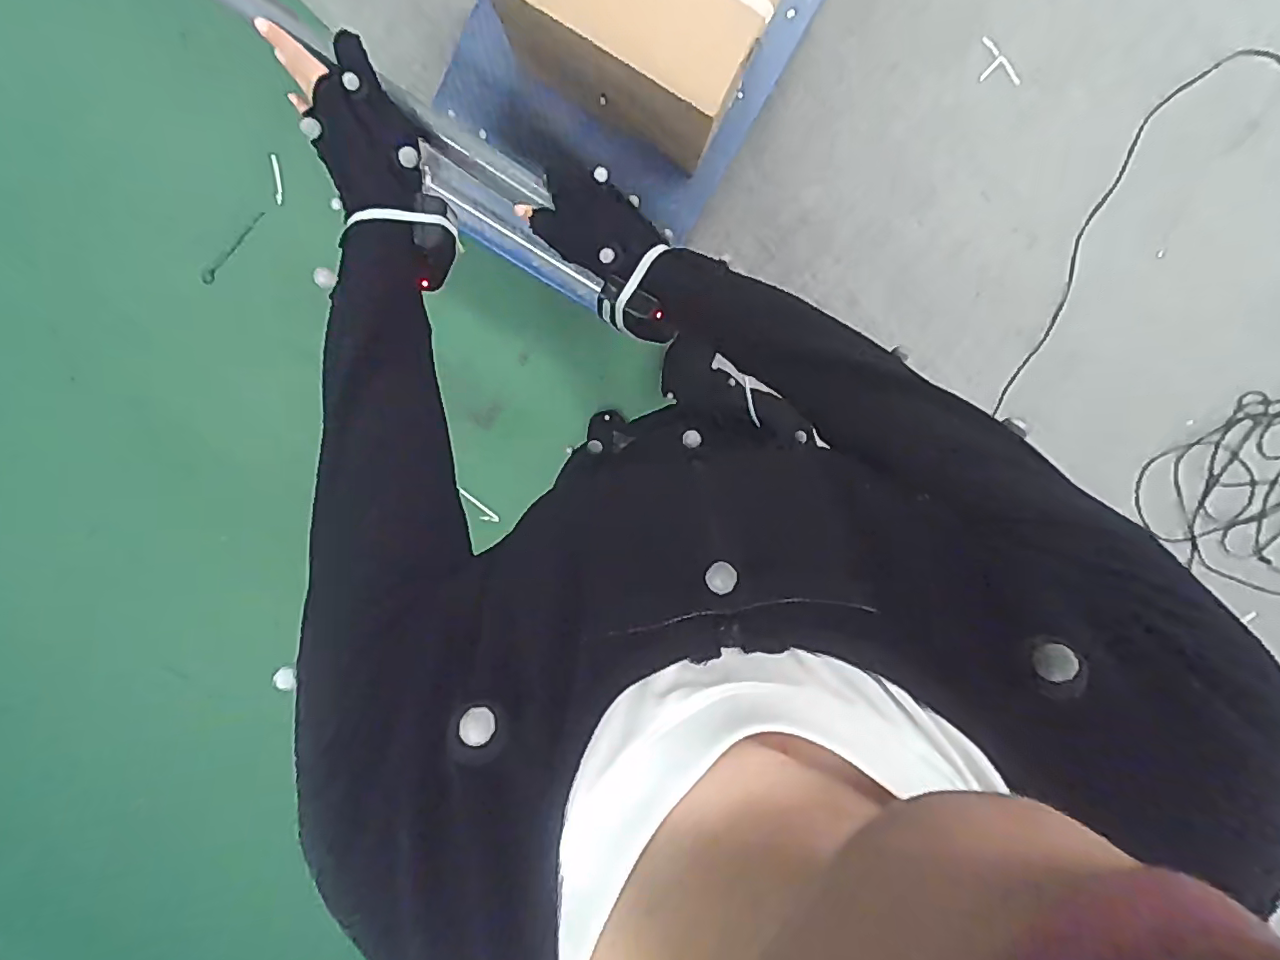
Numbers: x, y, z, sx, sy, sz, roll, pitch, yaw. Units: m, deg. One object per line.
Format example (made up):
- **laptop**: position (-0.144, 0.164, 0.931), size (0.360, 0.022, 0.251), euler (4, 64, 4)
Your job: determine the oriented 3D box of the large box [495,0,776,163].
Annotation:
- **large box**: position (0.011, -0.833, 0.932), size (0.408, 0.320, 0.320), euler (27, 103, -7)
